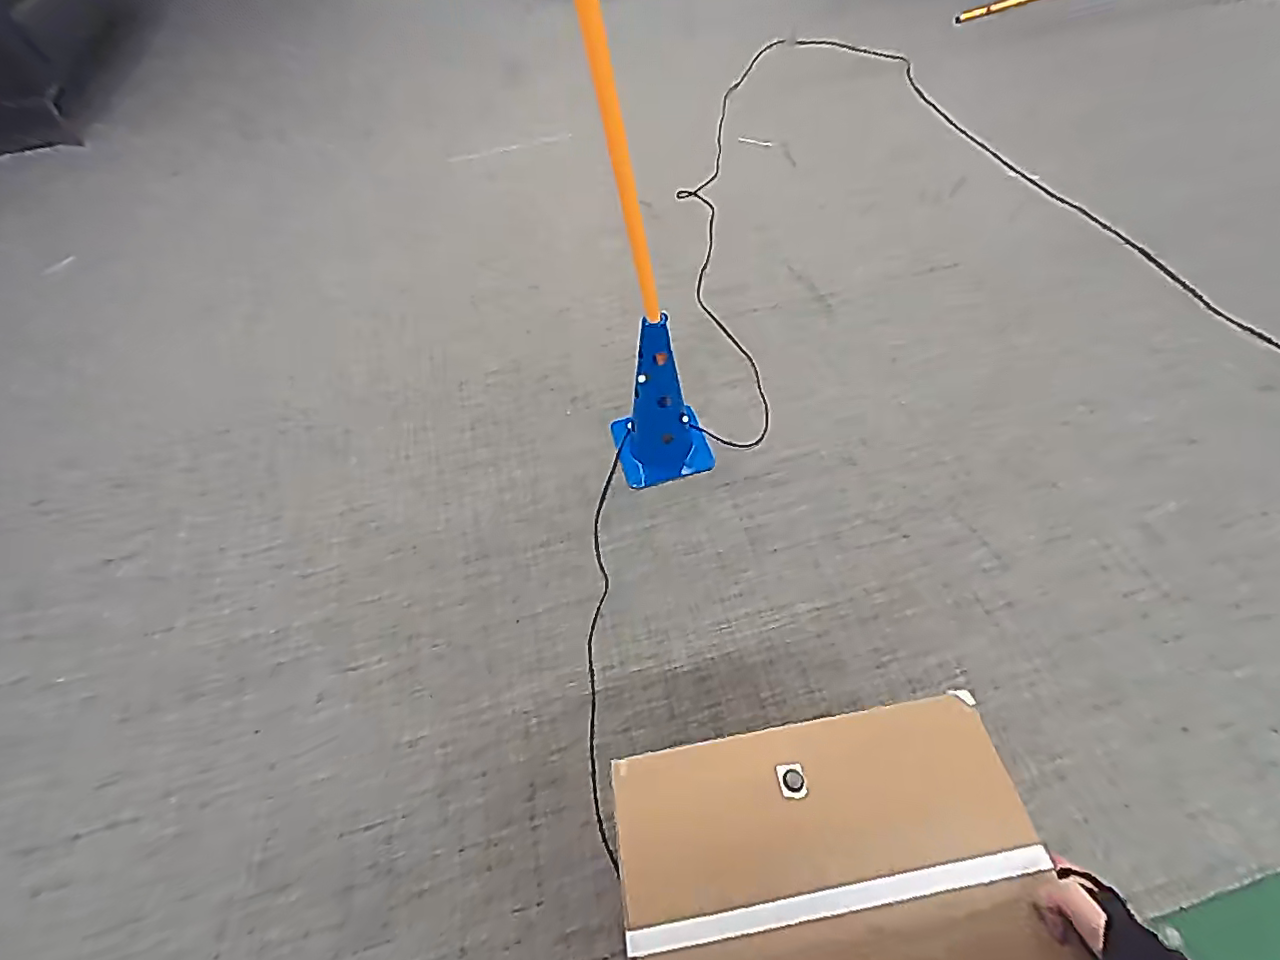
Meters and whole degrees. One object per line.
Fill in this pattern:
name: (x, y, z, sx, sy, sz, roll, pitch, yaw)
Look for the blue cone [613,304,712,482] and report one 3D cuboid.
blue cone: (0.035, -0.177, 1.069, 0.193, 0.380, 0.192, -18, 56, -6)
